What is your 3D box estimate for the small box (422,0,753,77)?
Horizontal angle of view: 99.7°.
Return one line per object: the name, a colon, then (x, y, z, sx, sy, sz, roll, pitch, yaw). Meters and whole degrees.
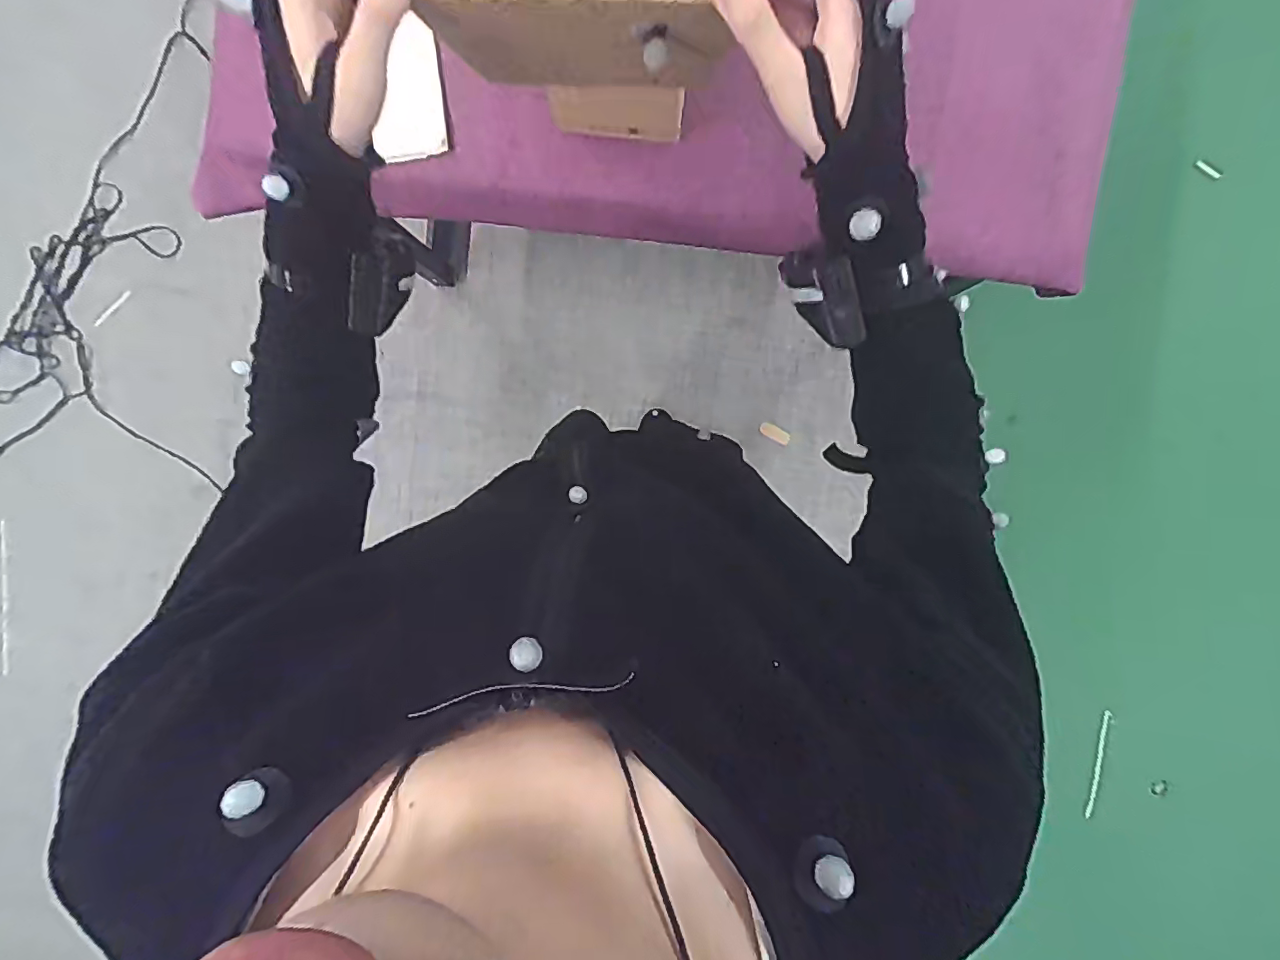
small box: (-0.026, -0.343, 0.296, 0.179, 0.176, 0.168, 2, 114, 0)
